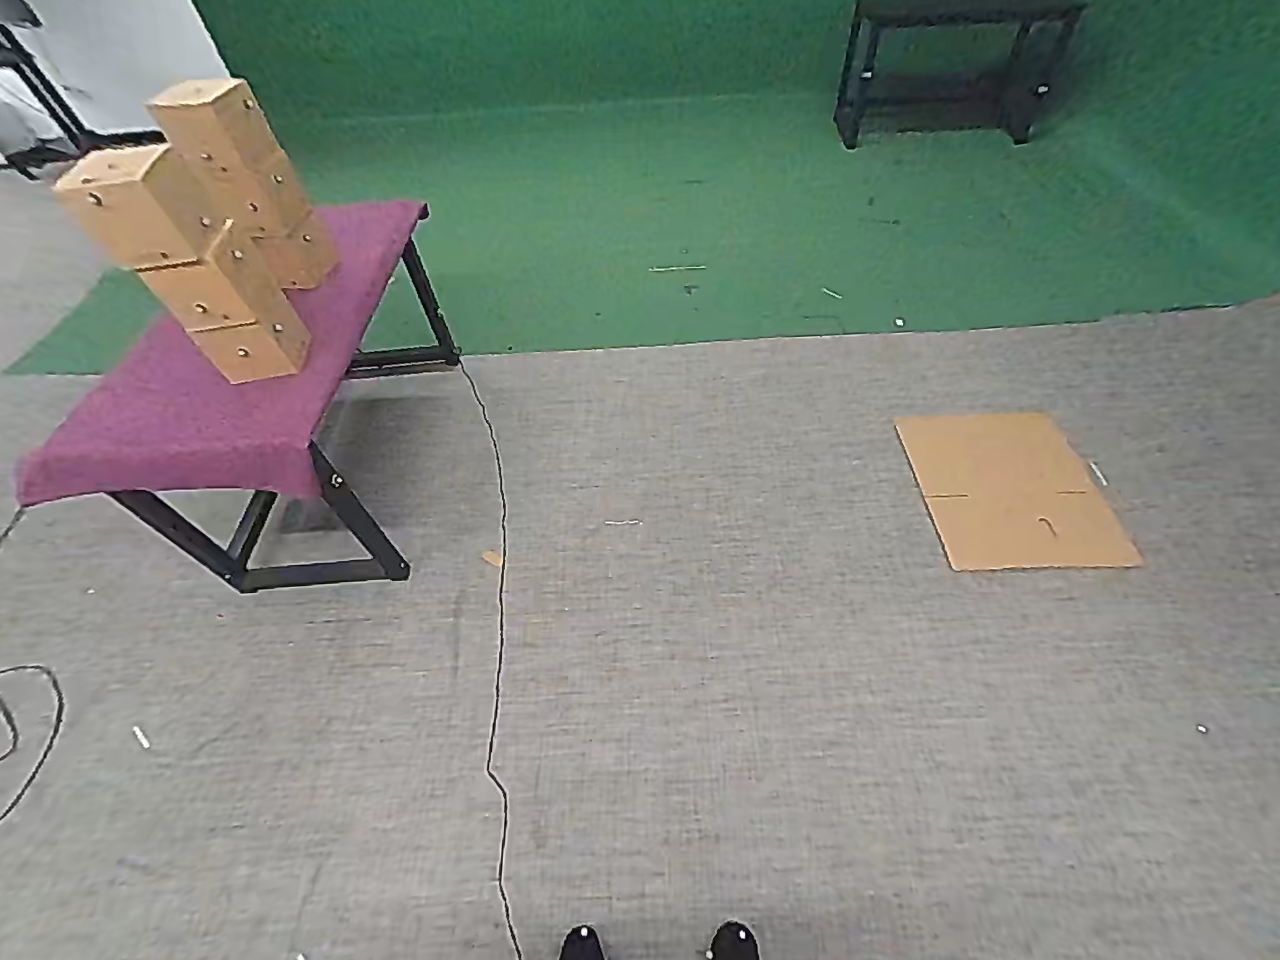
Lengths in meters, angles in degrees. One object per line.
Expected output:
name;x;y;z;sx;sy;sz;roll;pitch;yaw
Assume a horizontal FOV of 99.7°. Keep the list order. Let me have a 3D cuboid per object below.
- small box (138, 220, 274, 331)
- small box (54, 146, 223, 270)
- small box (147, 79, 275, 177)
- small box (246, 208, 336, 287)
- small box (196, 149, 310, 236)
small box;-0.999;-0.476;1.264;0.168;0.176;0.179;-10;53;-2
small box;-1.024;-0.566;1.129;0.168;0.176;0.179;-9;52;-1
small box;-1.091;-0.909;1.398;0.168;0.176;0.179;1;53;4
small box;-1.075;-0.710;1.658;0.168;0.176;0.179;2;52;5
small box;-1.080;-0.809;1.529;0.168;0.176;0.179;2;52;4
